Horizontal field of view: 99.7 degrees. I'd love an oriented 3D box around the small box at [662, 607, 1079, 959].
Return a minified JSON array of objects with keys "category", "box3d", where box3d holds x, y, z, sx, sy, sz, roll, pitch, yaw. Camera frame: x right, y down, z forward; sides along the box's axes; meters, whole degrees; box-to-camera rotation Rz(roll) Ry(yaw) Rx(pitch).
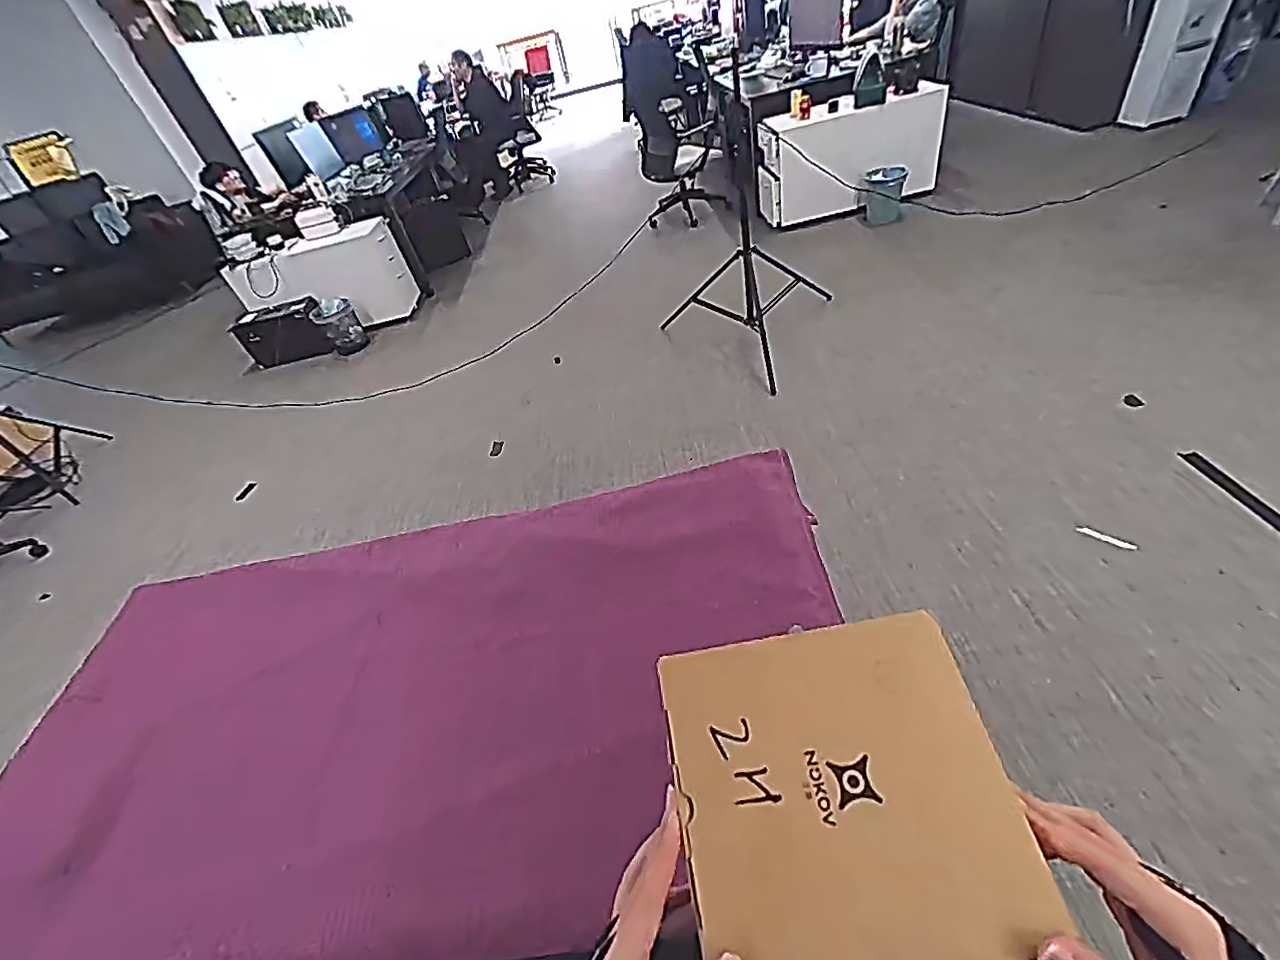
[{"category":"small box","box3d":[0.117,0.201,0.359,0.179,0.176,0.168,-11,56,2]}]
